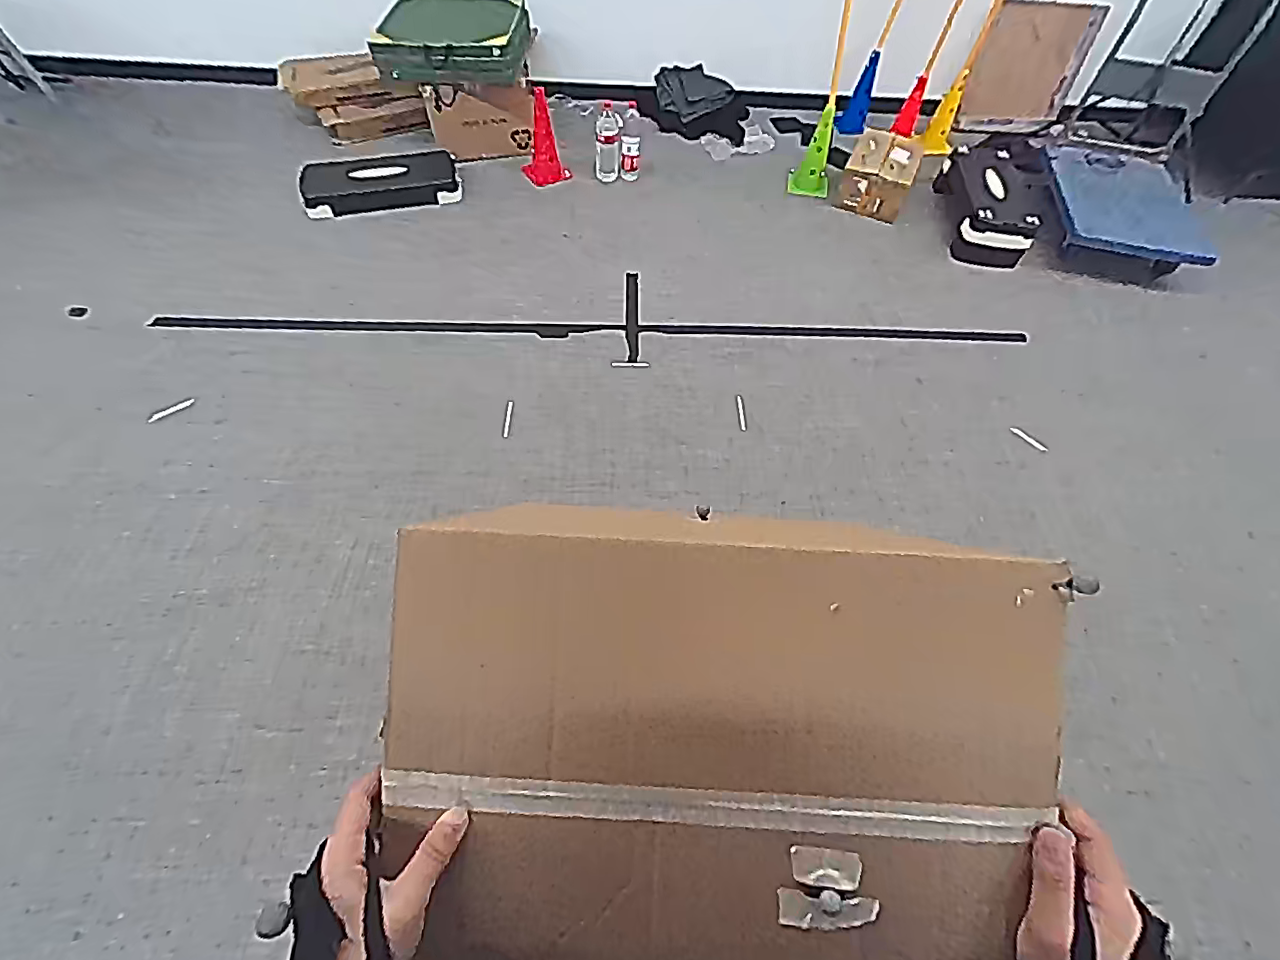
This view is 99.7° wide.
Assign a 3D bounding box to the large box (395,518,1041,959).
[{"bbox_3d":[0.046,0.199,0.488,0.408,0.320,0.320,3,91,0],"label":"large box"}]
